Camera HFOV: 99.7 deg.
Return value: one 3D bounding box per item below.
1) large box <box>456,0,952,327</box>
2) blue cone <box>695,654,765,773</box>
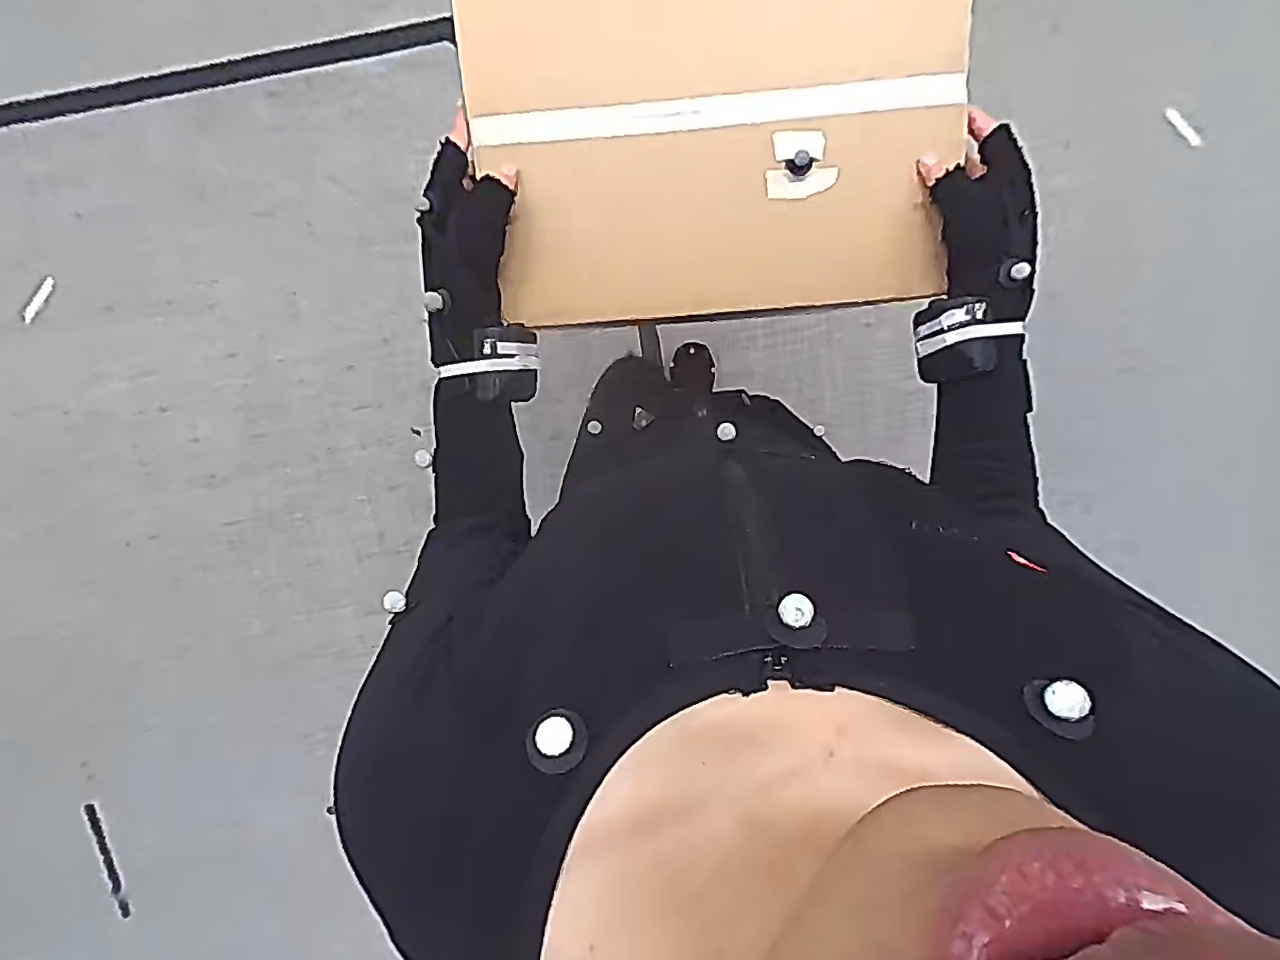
[{"bbox_3d":[0.056,-0.353,0.597,0.408,0.320,0.320,-5,105,1],"label":"large box"},{"bbox_3d":[0.267,0.639,1.428,0.193,0.380,0.192,11,99,-3],"label":"blue cone"}]
